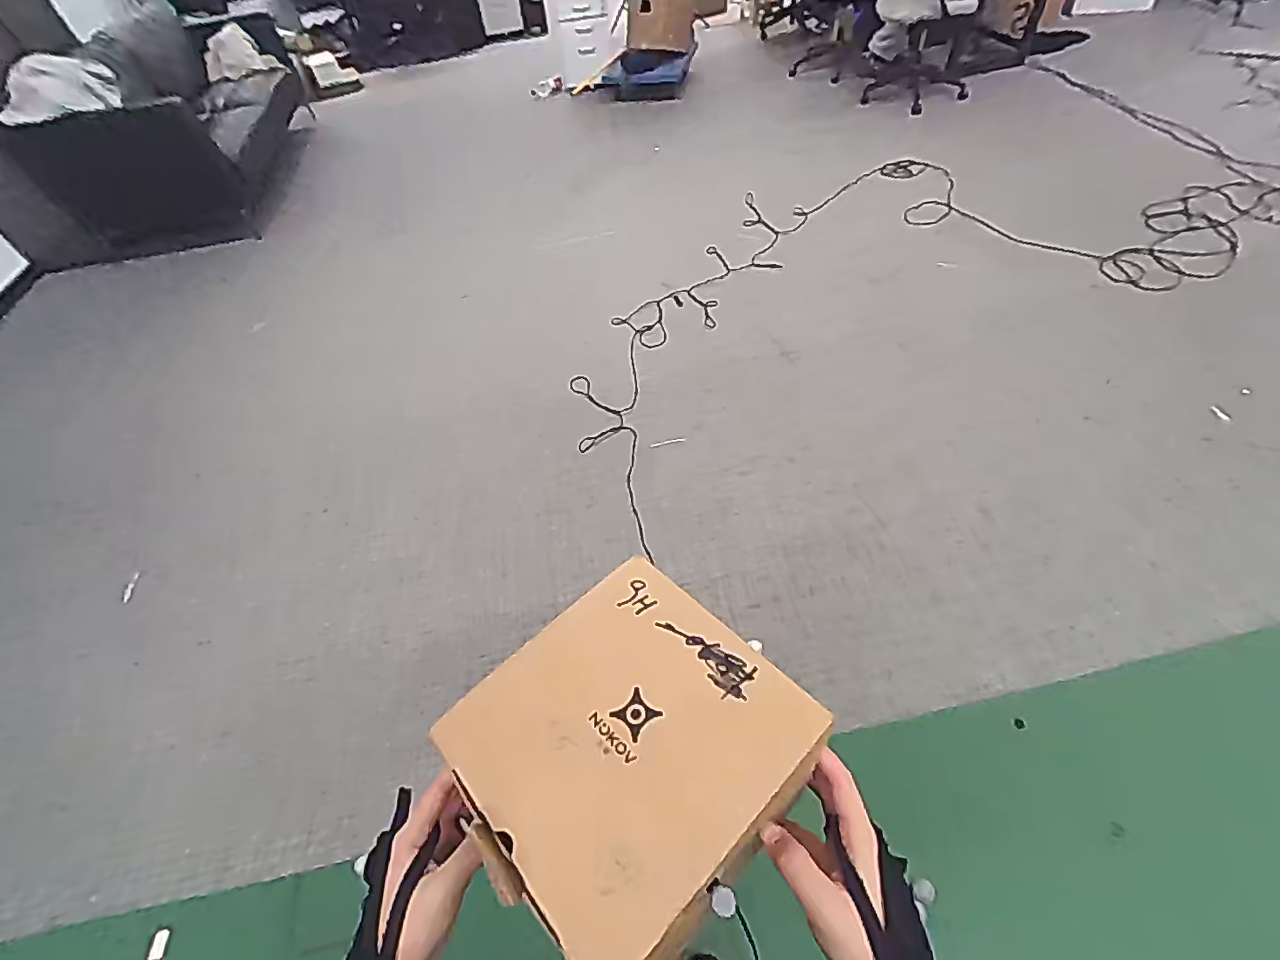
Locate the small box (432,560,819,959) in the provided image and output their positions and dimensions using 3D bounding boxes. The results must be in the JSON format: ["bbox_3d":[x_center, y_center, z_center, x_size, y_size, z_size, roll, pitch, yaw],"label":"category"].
[{"bbox_3d":[-0.002,0.198,0.374,0.179,0.176,0.168,-38,53,-23],"label":"small box"}]
